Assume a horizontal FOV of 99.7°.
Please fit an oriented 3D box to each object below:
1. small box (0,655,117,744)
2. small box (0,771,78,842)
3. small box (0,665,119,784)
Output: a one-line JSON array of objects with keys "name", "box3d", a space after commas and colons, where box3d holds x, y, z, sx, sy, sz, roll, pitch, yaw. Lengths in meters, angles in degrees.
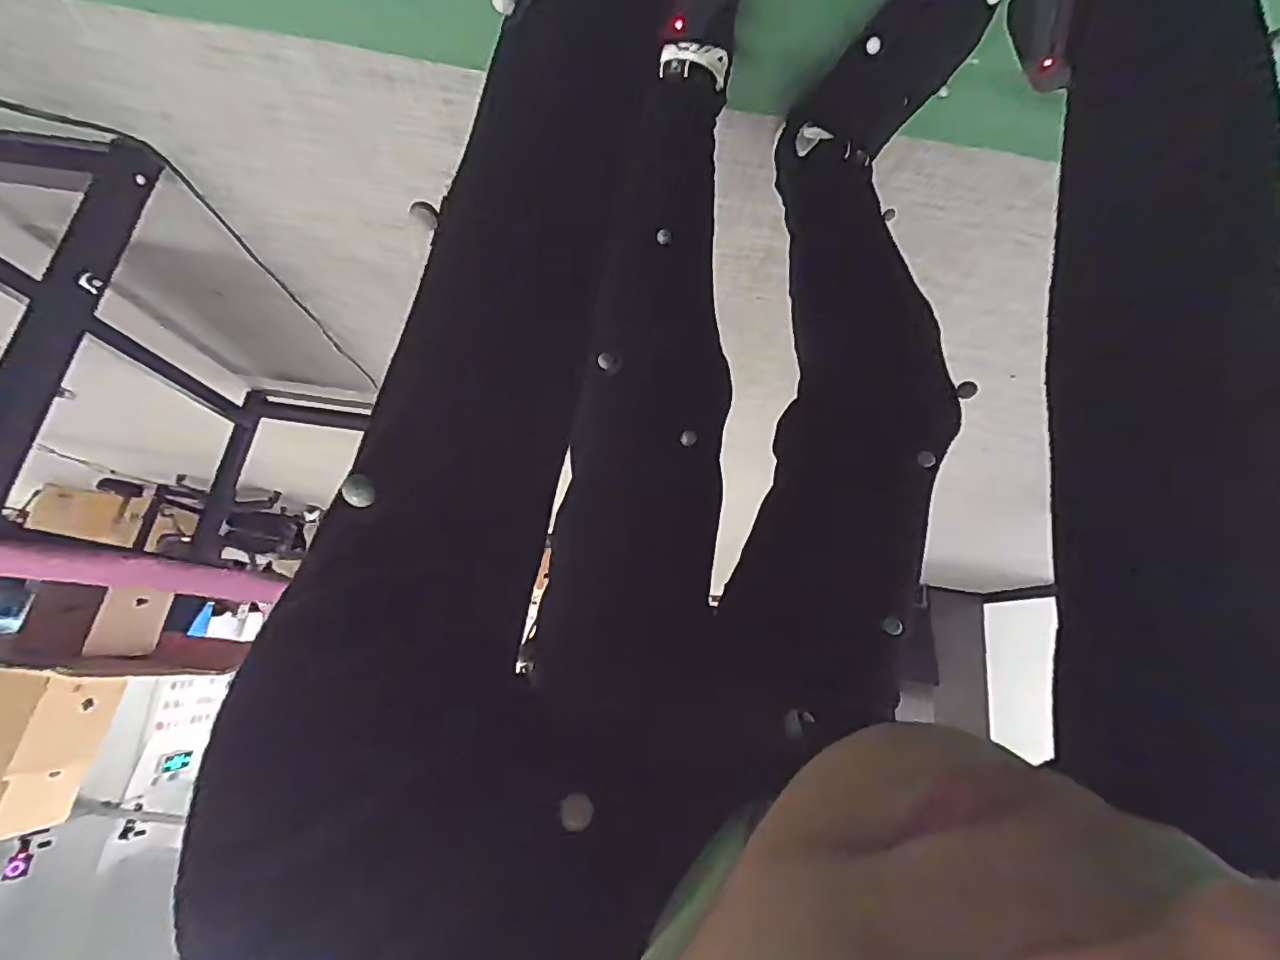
[{"name": "small box", "box3d": [-1.293, 0.475, 1.164, 0.179, 0.176, 0.168, 8, 160, 2]}, {"name": "small box", "box3d": [-1.317, 0.628, 1.108, 0.179, 0.176, 0.168, 6, 160, 1]}, {"name": "small box", "box3d": [-1.106, 0.425, 0.963, 0.179, 0.176, 0.168, 6, 161, 1]}]
